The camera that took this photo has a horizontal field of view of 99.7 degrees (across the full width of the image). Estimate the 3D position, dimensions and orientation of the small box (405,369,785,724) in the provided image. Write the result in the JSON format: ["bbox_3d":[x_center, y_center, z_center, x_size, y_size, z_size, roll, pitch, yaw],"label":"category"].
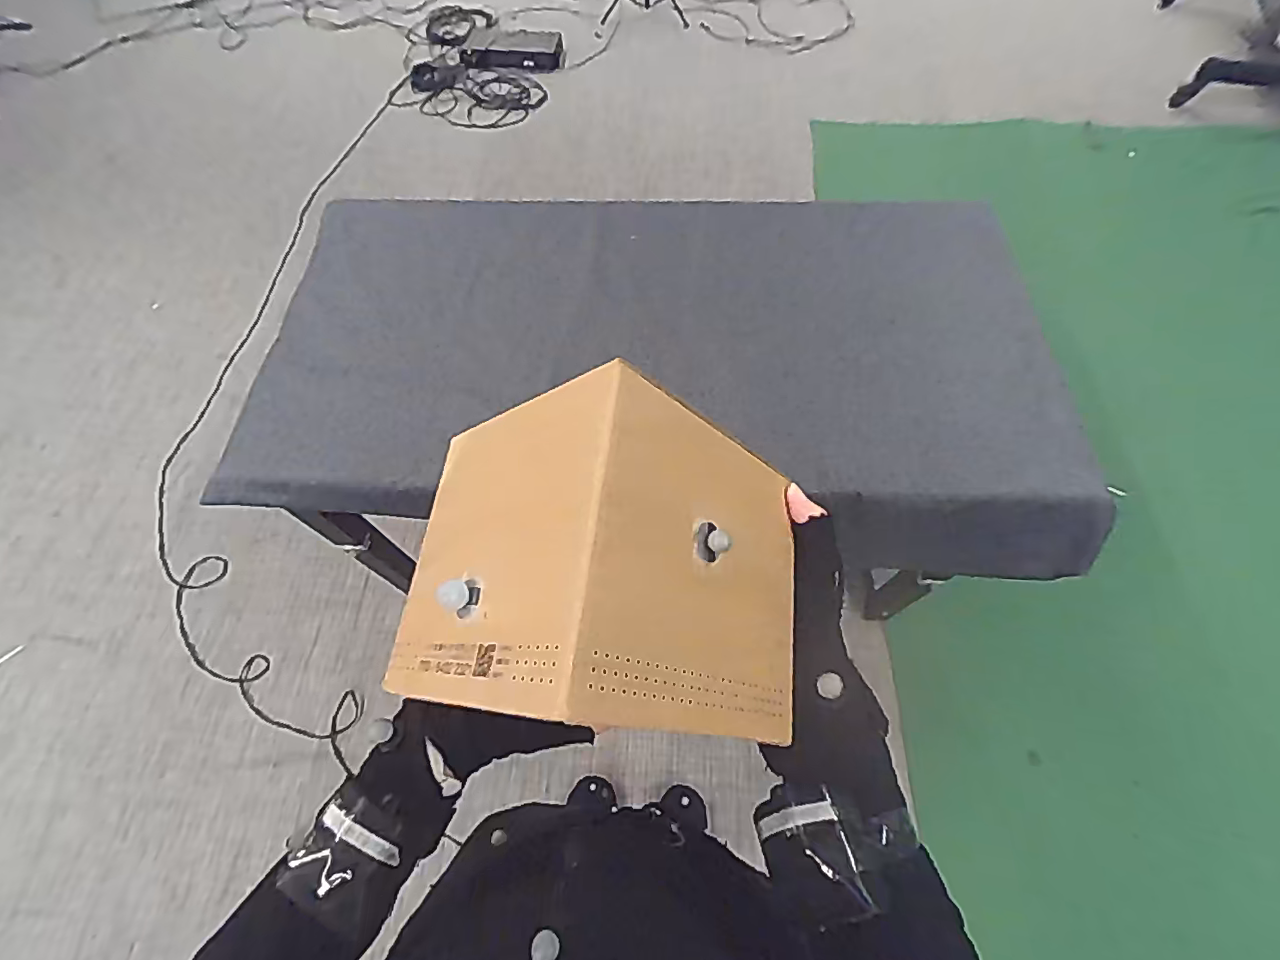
[{"bbox_3d":[-0.022,0.062,0.357,0.168,0.179,0.176,-16,58,42],"label":"small box"}]
